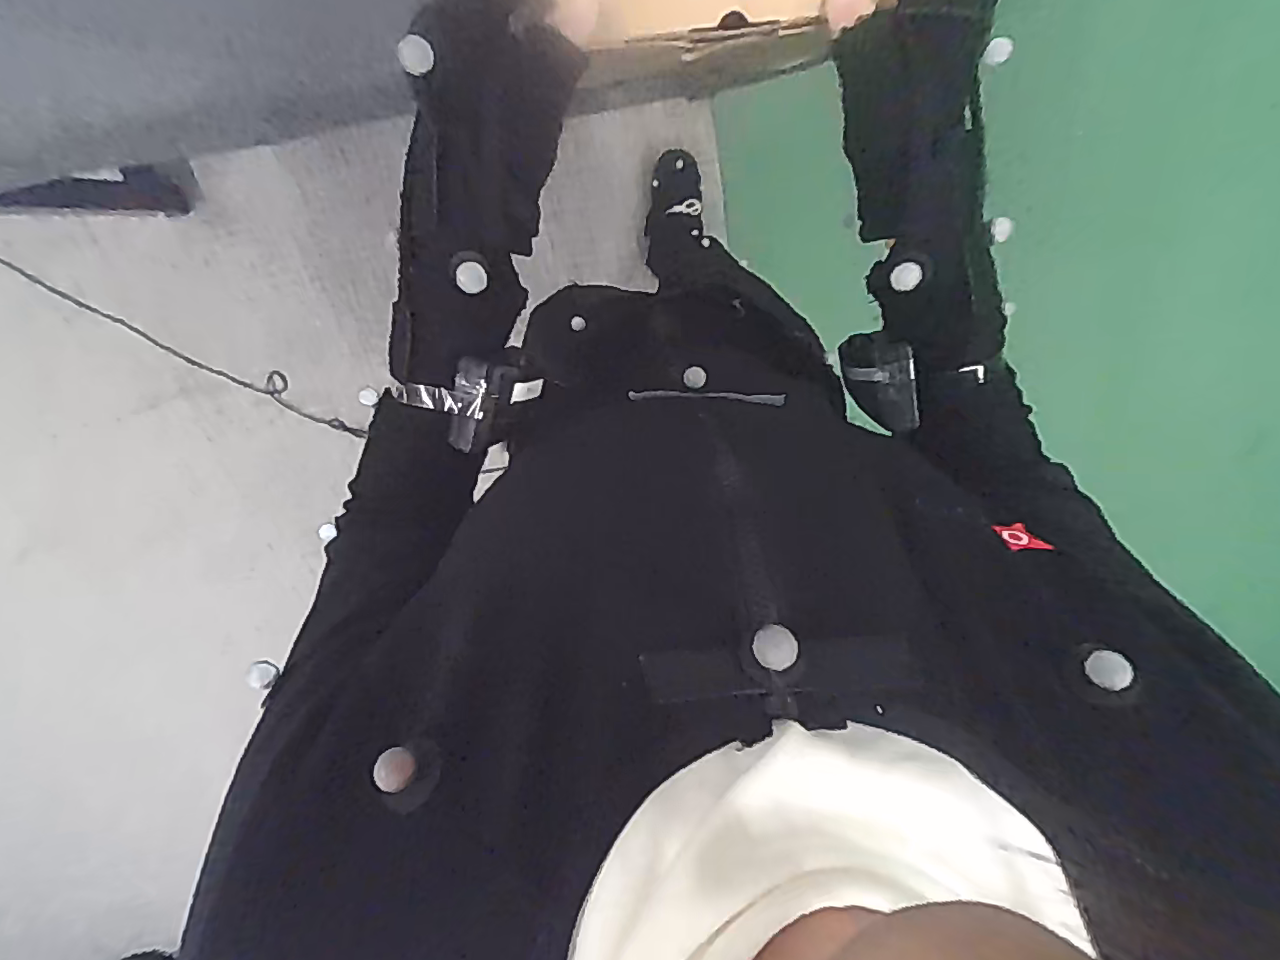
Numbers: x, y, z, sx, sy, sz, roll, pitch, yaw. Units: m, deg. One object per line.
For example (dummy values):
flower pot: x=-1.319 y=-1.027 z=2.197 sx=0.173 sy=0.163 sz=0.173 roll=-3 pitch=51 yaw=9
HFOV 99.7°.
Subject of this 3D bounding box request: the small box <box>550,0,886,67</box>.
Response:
small box: x=0.028 y=-0.334 z=0.281 sx=0.168 sy=0.176 sz=0.179 roll=-7 pitch=120 yaw=-2
